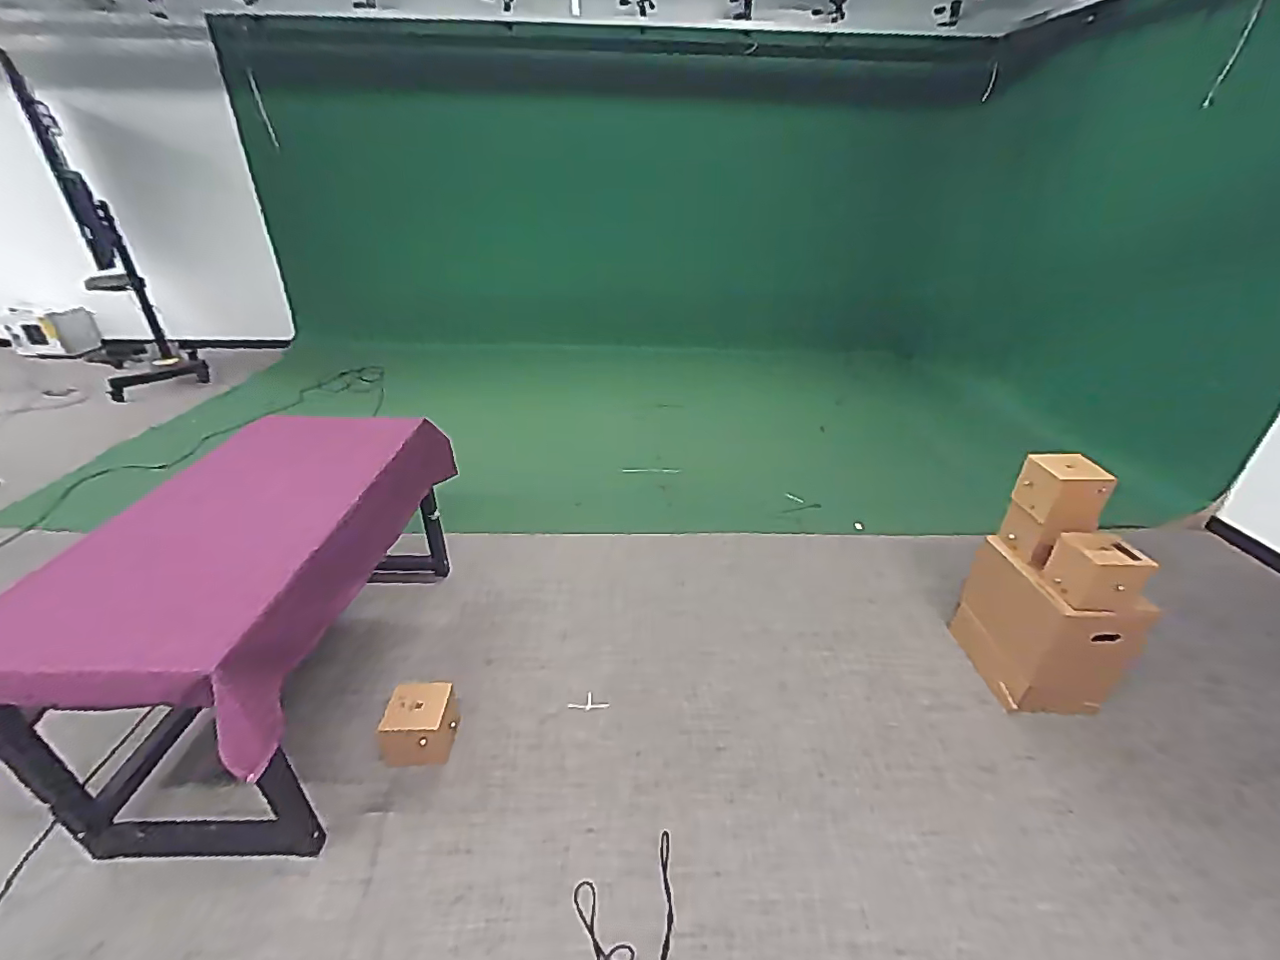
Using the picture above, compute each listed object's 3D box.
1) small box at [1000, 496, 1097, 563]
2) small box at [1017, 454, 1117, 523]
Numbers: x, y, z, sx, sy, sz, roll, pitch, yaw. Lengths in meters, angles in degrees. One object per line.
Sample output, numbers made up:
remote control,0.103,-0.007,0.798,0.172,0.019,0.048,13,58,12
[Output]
small box,1.365,0.168,1.820,0.179,0.176,0.168,-1,32,0
small box,1.355,0.028,1.737,0.179,0.176,0.168,0,32,-1
